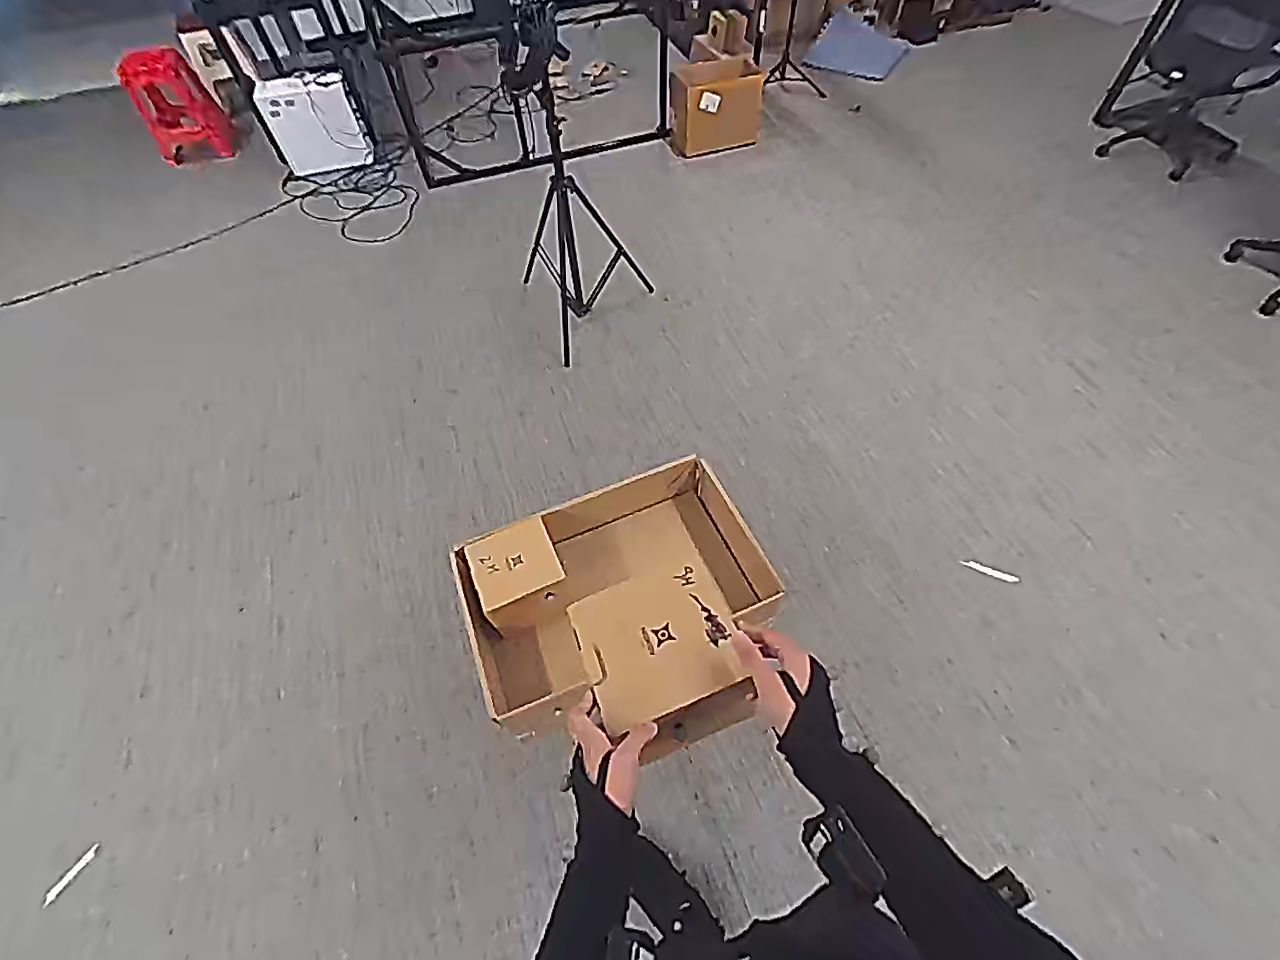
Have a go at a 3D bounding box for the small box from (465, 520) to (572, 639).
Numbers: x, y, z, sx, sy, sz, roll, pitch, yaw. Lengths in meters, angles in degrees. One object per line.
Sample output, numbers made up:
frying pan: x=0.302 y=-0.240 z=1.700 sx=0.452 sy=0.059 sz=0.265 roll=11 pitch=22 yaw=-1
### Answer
small box: x=-0.258 y=0.221 z=1.183 sx=0.179 sy=0.176 sz=0.168 roll=-23 pitch=57 yaw=-11

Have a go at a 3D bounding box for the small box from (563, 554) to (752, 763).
small box: x=0.027 y=0.228 z=0.675 sx=0.179 sy=0.176 sz=0.168 roll=-23 pitch=52 yaw=-4
